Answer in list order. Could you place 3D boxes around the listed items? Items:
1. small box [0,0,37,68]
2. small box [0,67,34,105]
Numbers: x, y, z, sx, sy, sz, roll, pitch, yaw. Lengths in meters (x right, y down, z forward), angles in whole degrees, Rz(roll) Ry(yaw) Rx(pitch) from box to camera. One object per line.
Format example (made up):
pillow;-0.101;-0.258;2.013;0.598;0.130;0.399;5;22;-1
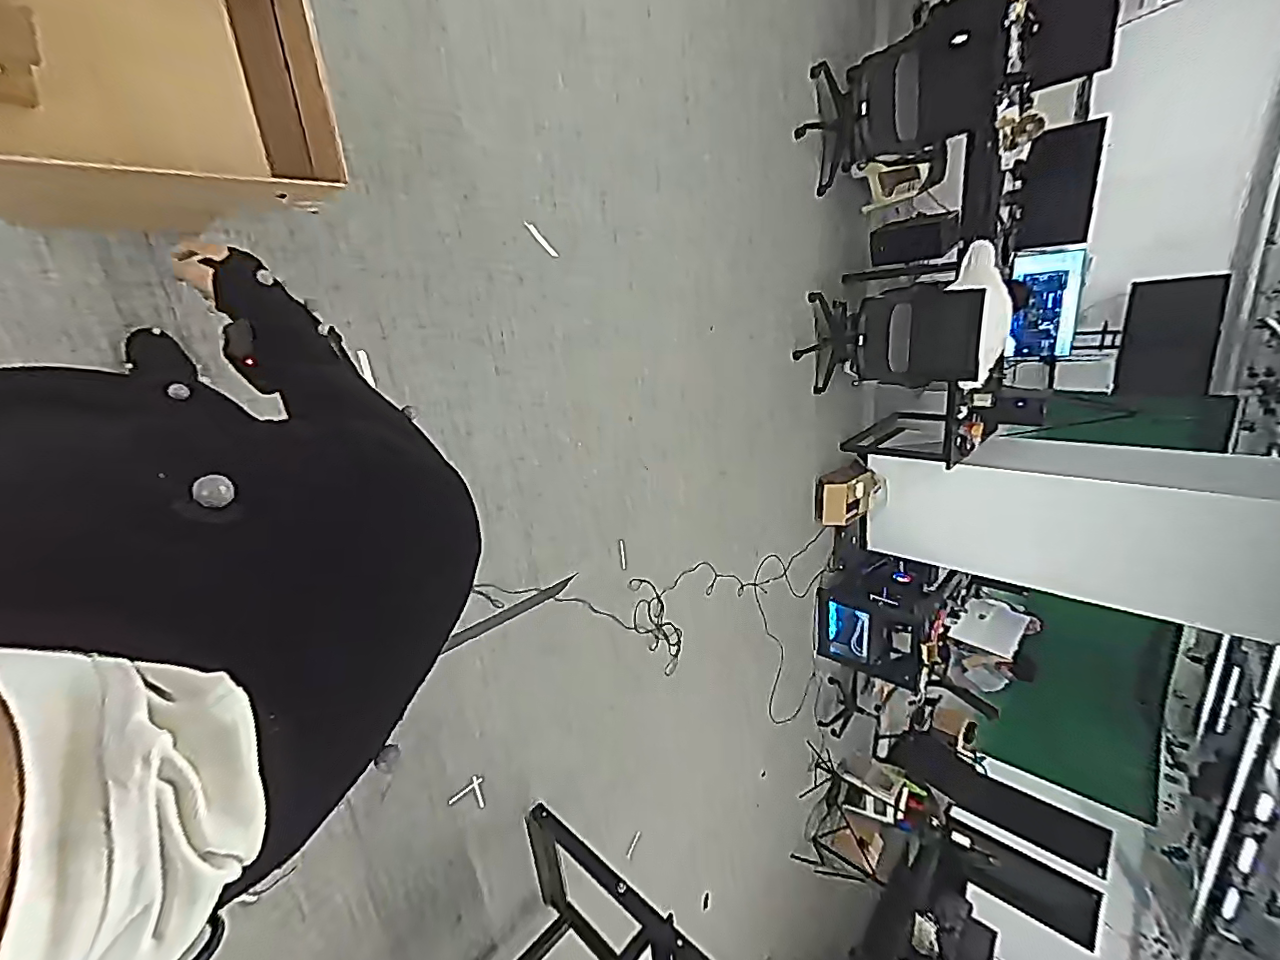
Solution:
small box;-0.771;-0.565;0.550;0.168;0.176;0.179;-24;115;-40
small box;-0.892;-0.590;0.658;0.168;0.176;0.179;-23;113;-41
